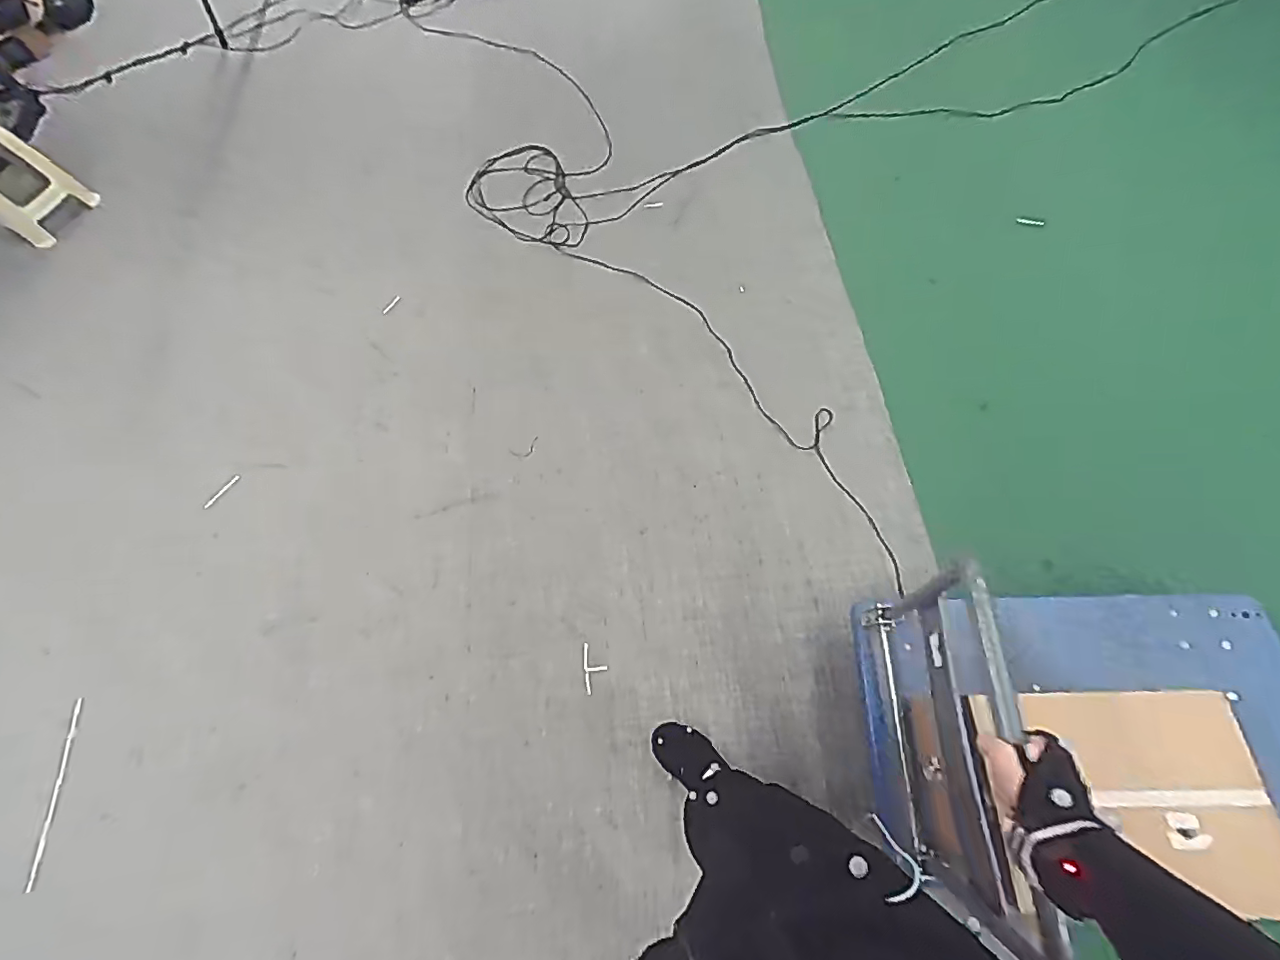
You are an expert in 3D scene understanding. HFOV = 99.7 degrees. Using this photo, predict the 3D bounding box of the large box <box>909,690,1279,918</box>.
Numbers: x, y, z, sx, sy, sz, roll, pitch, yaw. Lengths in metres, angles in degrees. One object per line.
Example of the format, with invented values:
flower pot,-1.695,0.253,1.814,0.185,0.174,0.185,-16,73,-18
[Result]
large box,0.781,0.565,0.994,0.408,0.320,0.320,-3,67,5
